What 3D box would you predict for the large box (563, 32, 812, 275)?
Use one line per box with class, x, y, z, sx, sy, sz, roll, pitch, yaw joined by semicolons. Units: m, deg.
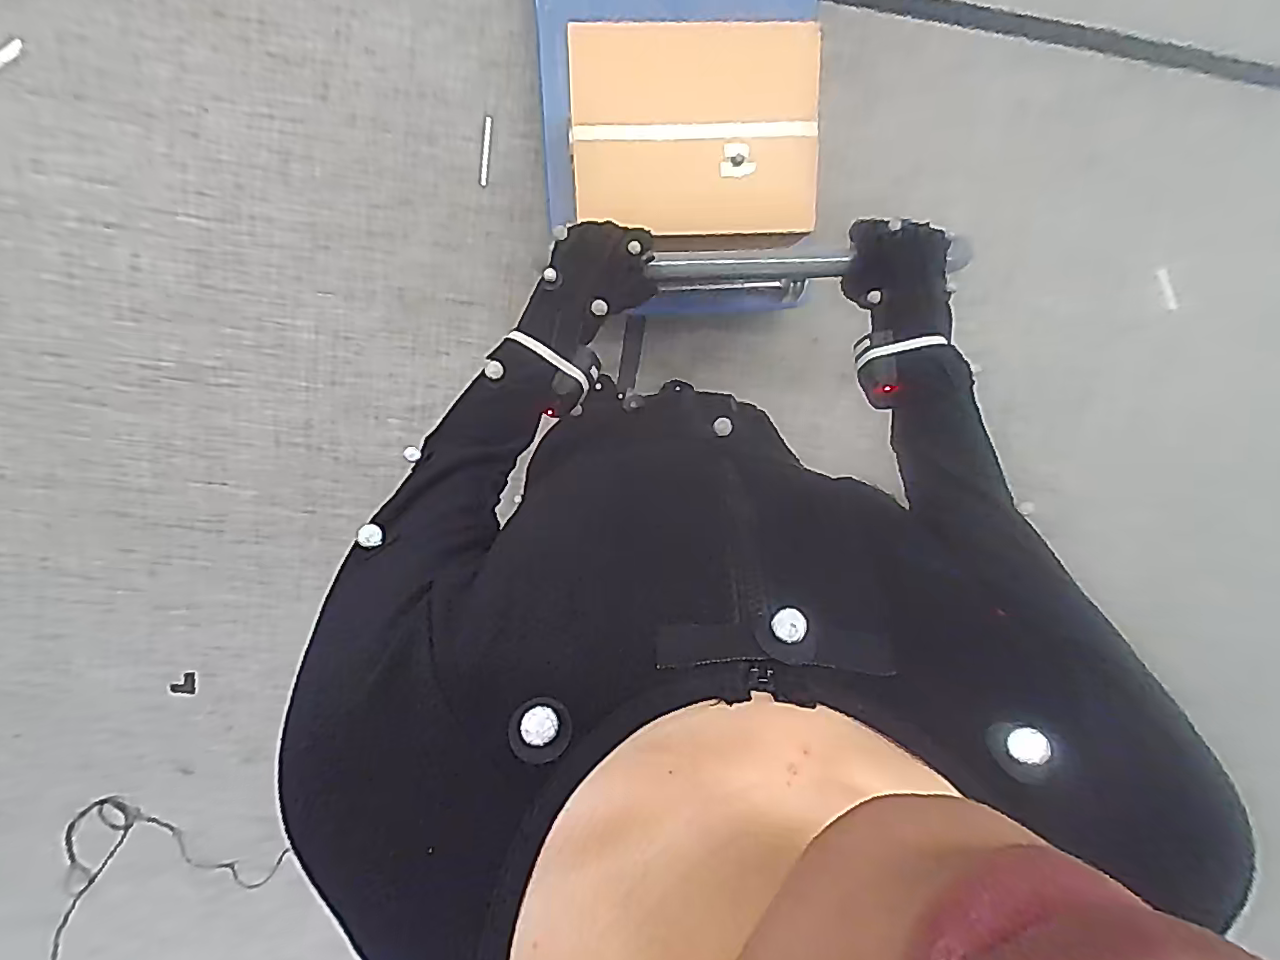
large box;0.074;-0.583;1.028;0.408;0.320;0.320;-3;103;-3
